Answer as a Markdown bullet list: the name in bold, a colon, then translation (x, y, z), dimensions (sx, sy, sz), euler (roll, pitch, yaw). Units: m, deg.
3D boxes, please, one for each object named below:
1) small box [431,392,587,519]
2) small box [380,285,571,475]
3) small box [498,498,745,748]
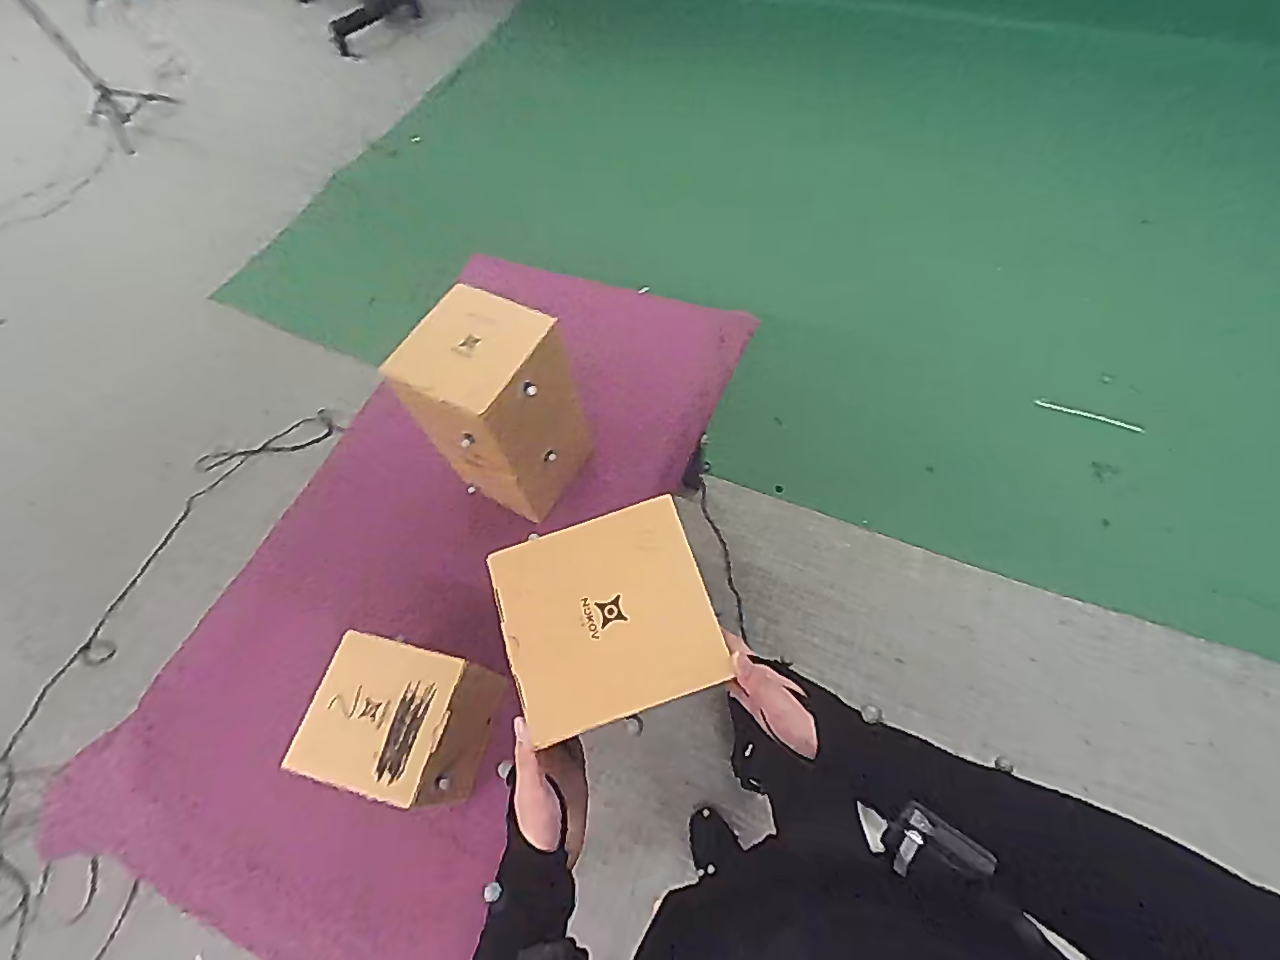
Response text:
- **small box**: translation (-0.206, -0.062, 0.912), dimensions (0.168, 0.176, 0.179), euler (25, 67, 16)
- **small box**: translation (-0.216, -0.134, 0.767), dimensions (0.168, 0.176, 0.179), euler (25, 67, 15)
- **small box**: translation (-0.015, 0.138, 0.531), dimensions (0.179, 0.176, 0.168), euler (-19, 71, -1)
